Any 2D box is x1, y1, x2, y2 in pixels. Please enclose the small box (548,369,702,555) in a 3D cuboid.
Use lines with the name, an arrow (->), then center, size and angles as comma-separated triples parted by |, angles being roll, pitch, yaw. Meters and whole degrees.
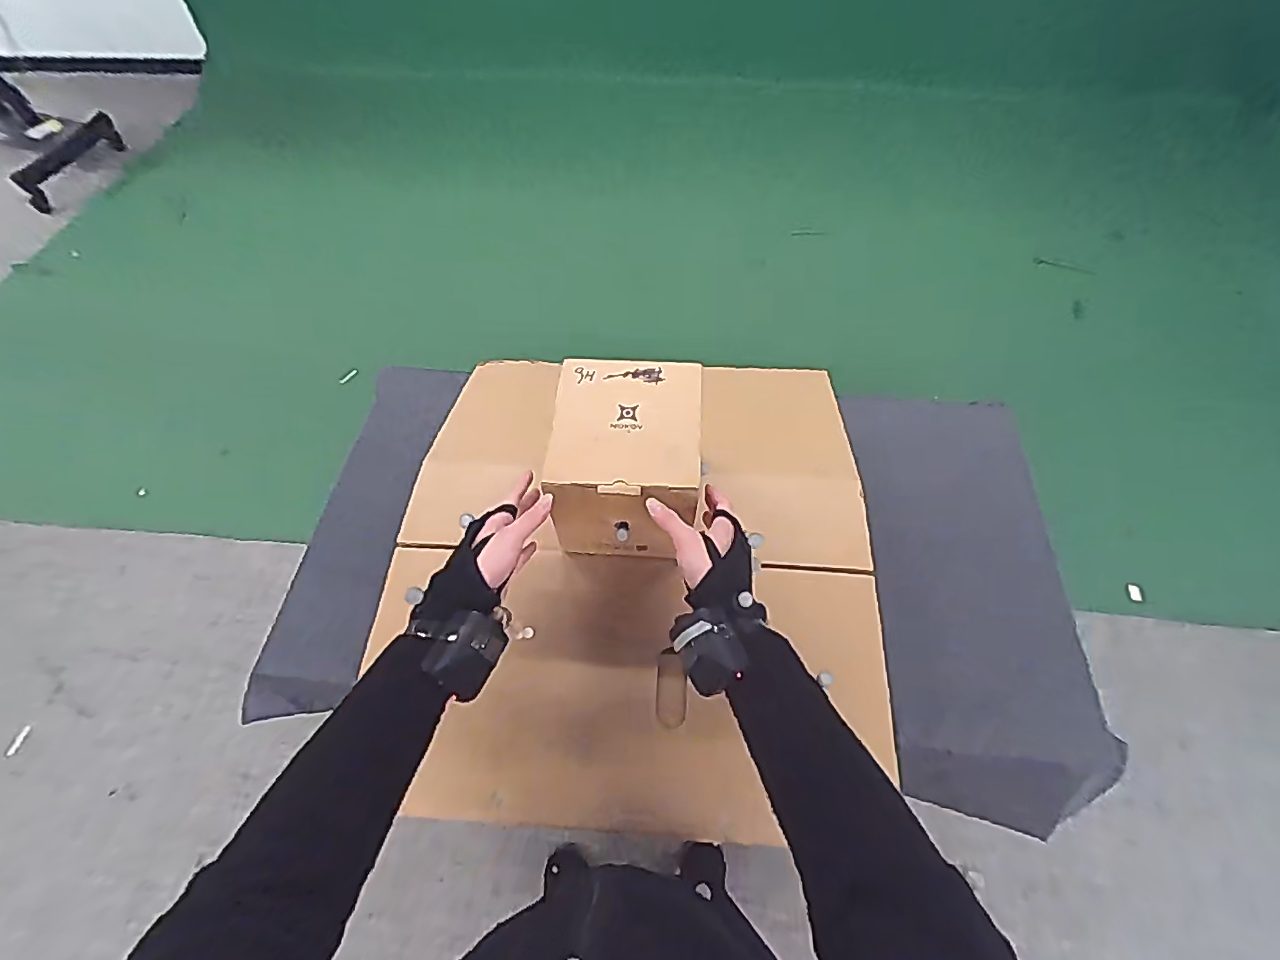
small box -> -0.010, -0.016, 0.670 | 0.168, 0.176, 0.179 | 0, 58, 2
